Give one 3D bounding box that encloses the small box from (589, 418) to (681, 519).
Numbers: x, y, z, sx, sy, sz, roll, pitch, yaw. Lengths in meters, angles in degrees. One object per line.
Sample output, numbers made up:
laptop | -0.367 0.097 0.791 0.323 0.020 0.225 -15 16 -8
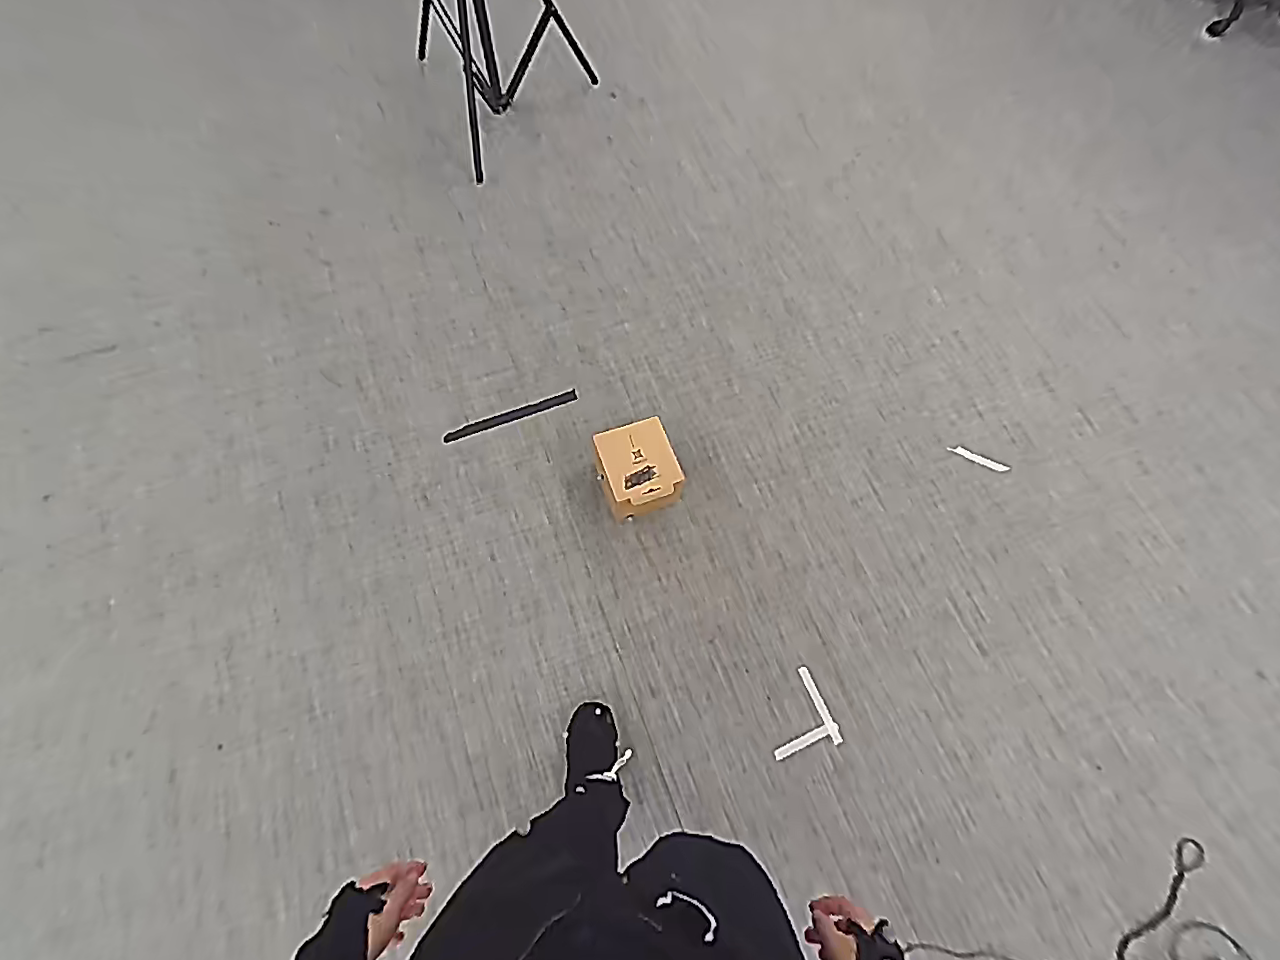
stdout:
small box | -0.015 -0.017 1.298 0.168 0.176 0.179 -19 72 -10
